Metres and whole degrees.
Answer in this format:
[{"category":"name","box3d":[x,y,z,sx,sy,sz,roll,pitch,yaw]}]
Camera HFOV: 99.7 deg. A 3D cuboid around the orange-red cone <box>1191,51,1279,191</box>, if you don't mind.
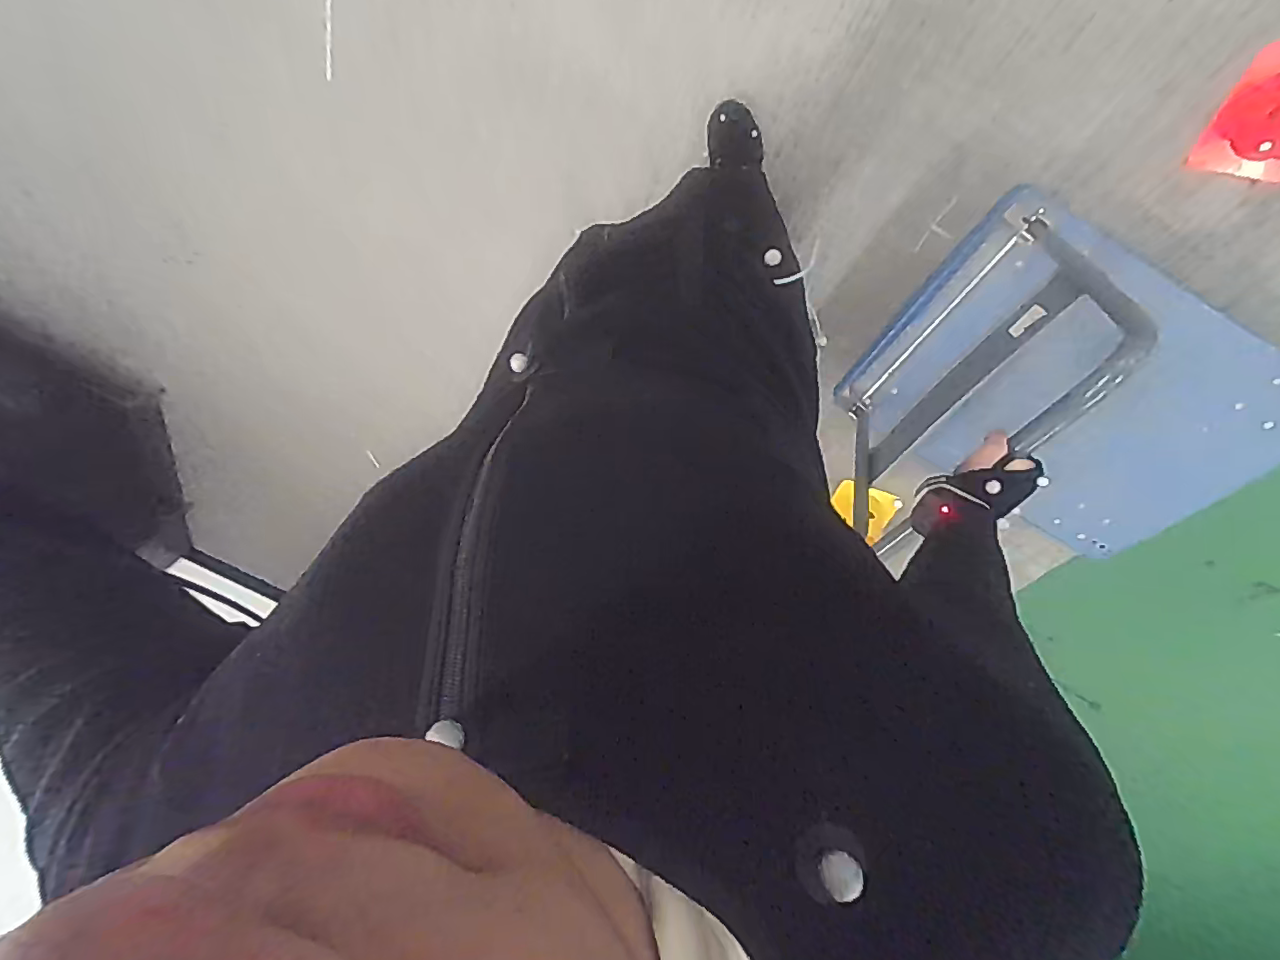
[{"category":"orange-red cone","box3d":[1.136,-0.556,0.863,0.198,0.360,0.199,17,129,5]}]
